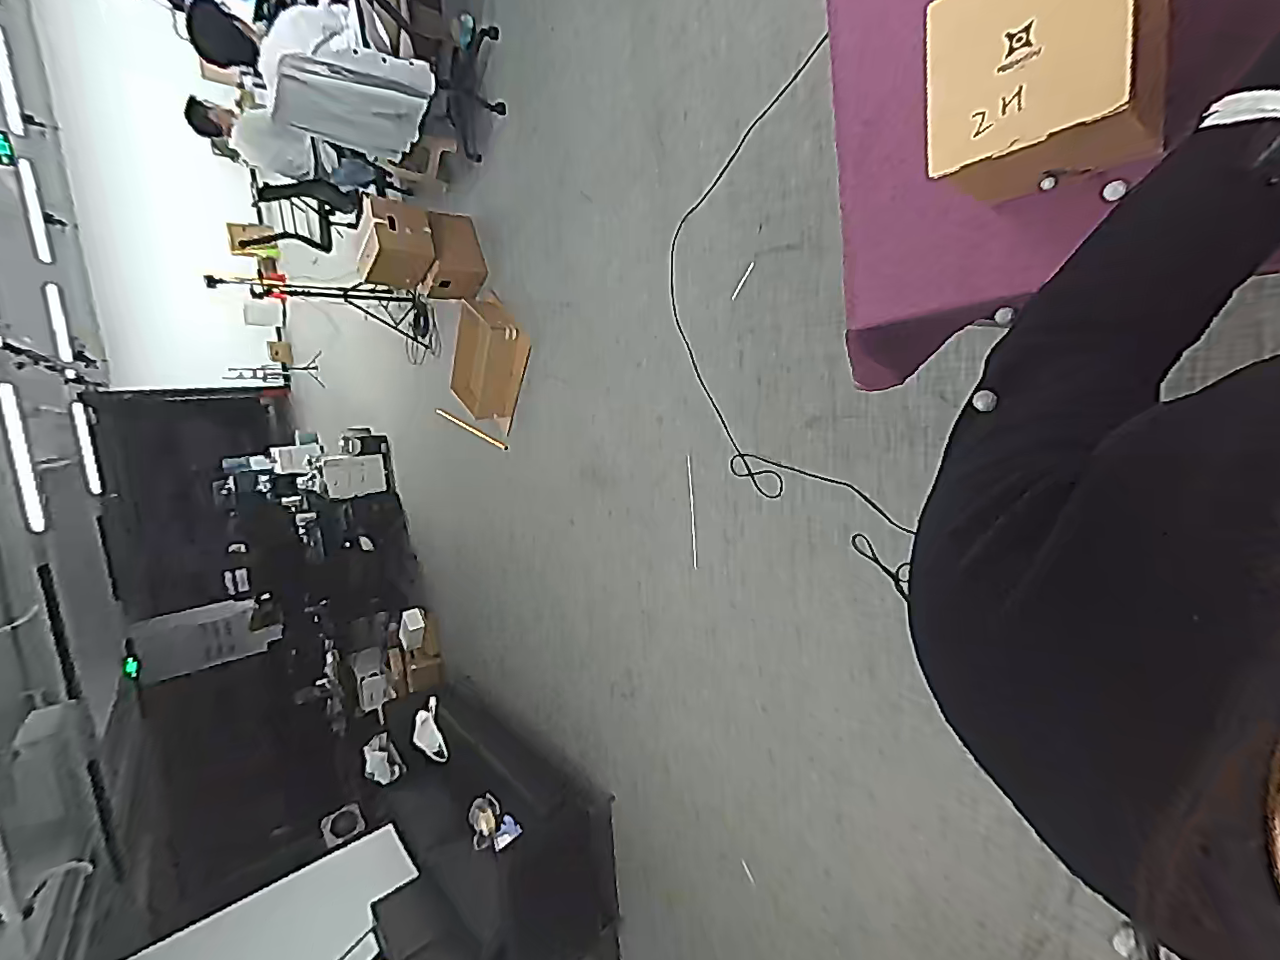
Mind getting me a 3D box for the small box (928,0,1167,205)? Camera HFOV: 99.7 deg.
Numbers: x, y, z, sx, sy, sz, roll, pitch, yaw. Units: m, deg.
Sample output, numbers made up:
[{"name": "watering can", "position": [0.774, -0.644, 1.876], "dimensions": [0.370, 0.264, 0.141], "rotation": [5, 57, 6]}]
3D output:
[{"name": "small box", "position": [0.422, -0.416, 0.564], "dimensions": [0.168, 0.176, 0.179], "rotation": [4, 101, 51]}]
